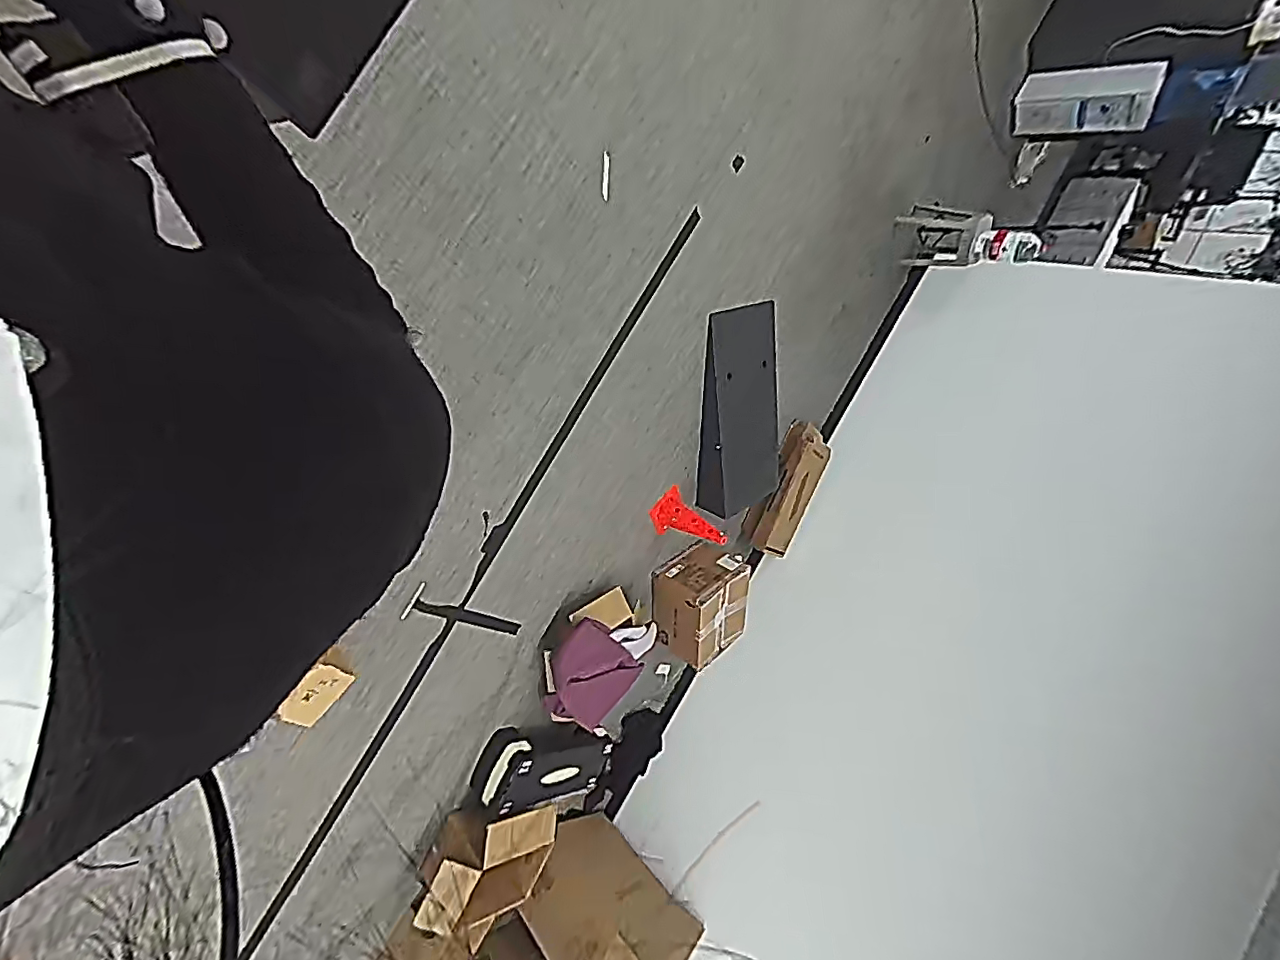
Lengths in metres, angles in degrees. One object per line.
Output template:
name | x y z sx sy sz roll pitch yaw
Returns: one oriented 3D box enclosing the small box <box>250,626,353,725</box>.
small box | -0.964 0.552 1.532 0.179 0.176 0.168 -51 140 -15
